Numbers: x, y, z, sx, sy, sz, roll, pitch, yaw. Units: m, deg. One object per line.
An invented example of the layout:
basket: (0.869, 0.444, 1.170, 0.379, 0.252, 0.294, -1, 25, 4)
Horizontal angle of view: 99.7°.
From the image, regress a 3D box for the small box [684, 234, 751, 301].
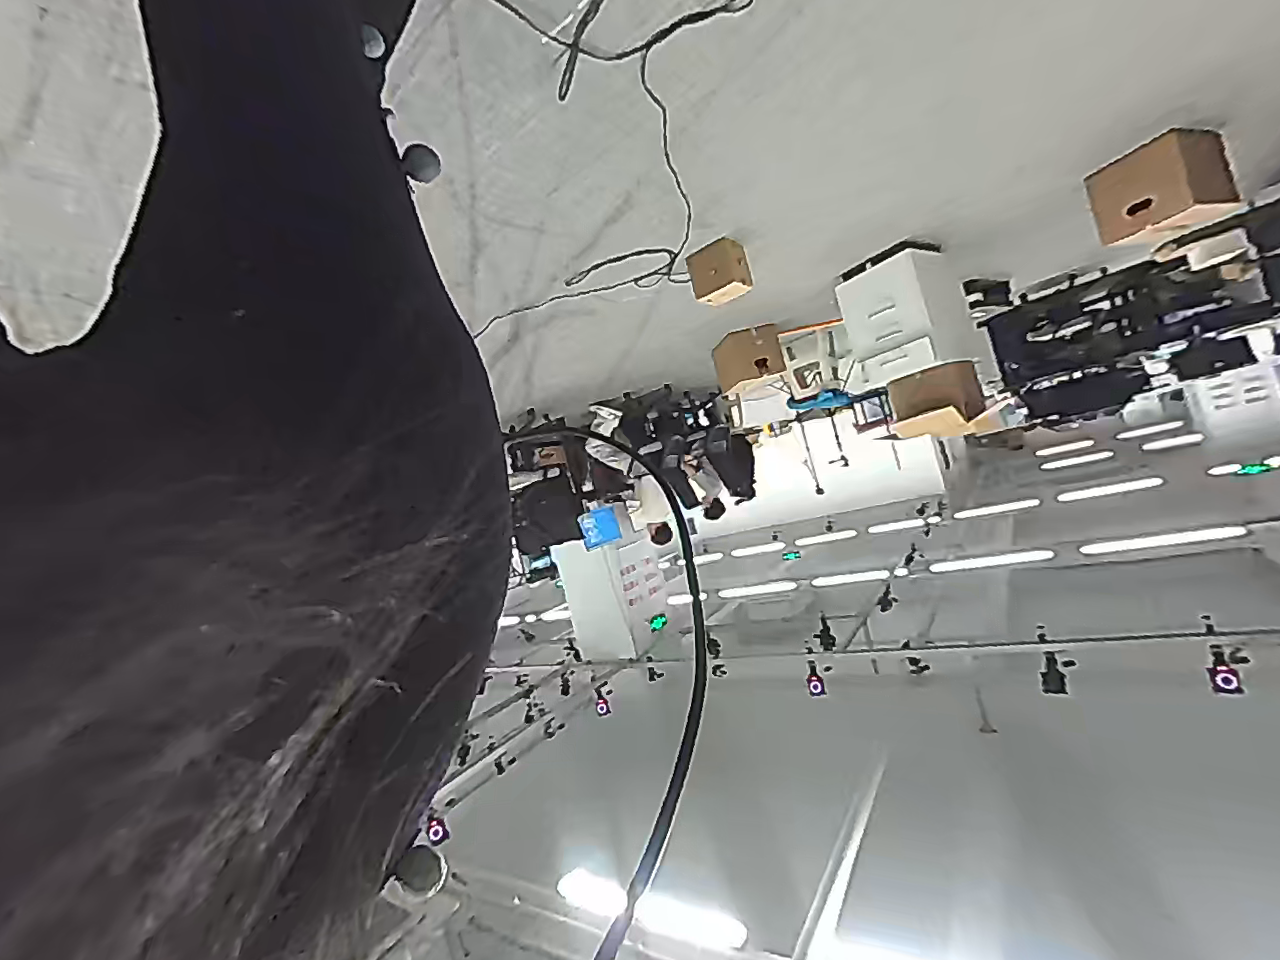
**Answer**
small box: (0.295, -0.810, 2.065, 0.179, 0.176, 0.168, -17, 178, 37)
